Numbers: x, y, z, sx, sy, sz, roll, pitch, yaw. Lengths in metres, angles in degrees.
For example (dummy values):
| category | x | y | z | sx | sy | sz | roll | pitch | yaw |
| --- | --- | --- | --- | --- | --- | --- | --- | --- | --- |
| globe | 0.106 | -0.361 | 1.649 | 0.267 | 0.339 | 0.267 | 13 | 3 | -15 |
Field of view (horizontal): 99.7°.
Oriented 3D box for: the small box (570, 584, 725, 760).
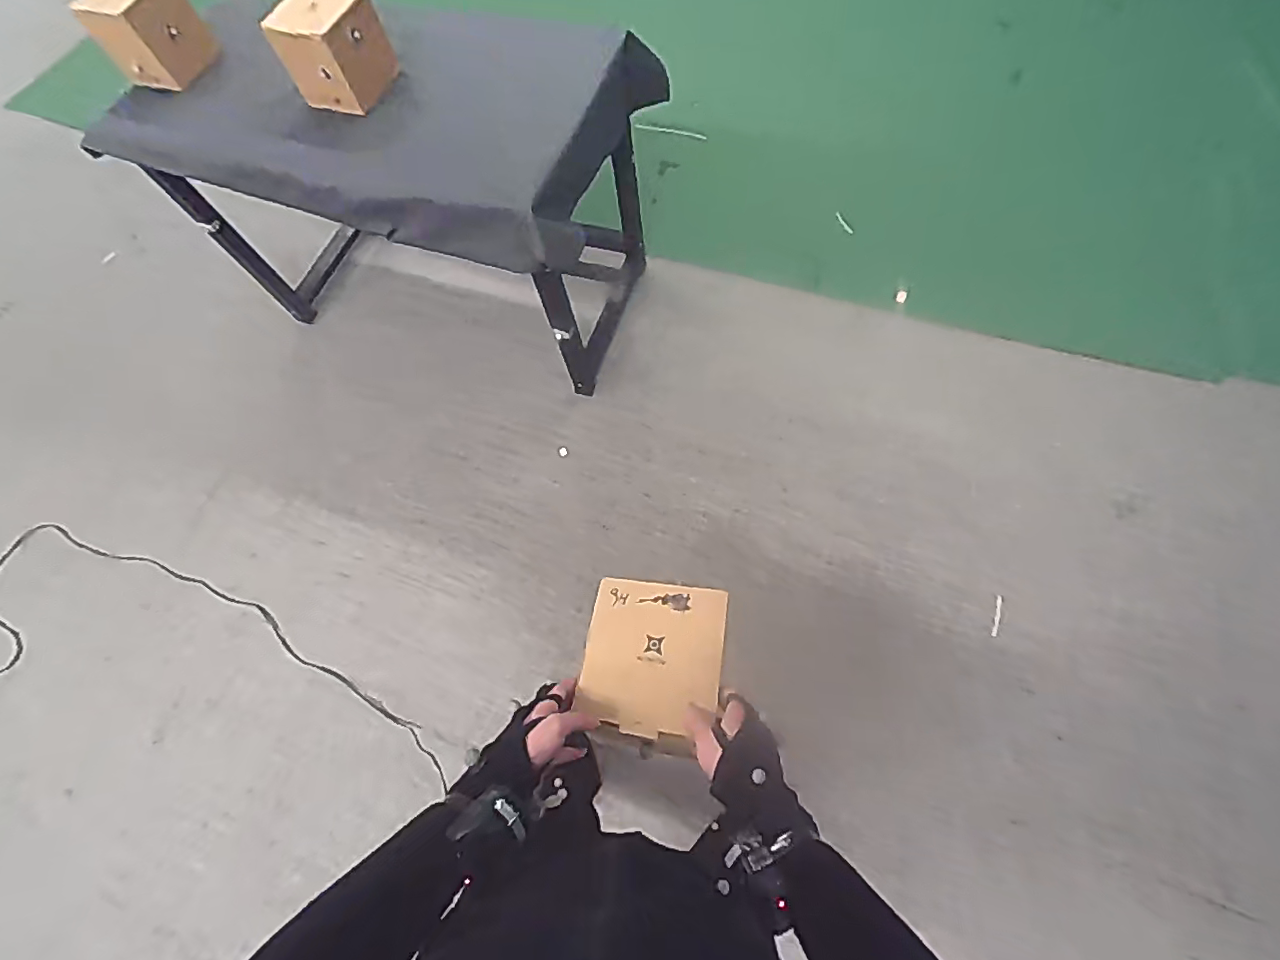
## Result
| category | x | y | z | sx | sy | sz | roll | pitch | yaw |
| --- | --- | --- | --- | --- | --- | --- | --- | --- | --- |
| small box | 0.023 | 0.257 | 0.713 | 0.168 | 0.176 | 0.179 | 4 | 58 | 12 |

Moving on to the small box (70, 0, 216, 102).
| category | x | y | z | sx | sy | sz | roll | pitch | yaw |
| --- | --- | --- | --- | --- | --- | --- | --- | --- | --- |
| small box | -1.200 | -1.078 | 1.327 | 0.168 | 0.176 | 0.179 | 16 | 69 | 12 |

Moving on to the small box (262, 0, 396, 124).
| category | x | y | z | sx | sy | sz | roll | pitch | yaw |
| --- | --- | --- | --- | --- | --- | --- | --- | --- | --- |
| small box | -0.693 | -0.952 | 1.230 | 0.168 | 0.176 | 0.179 | 18 | 69 | 11 |
